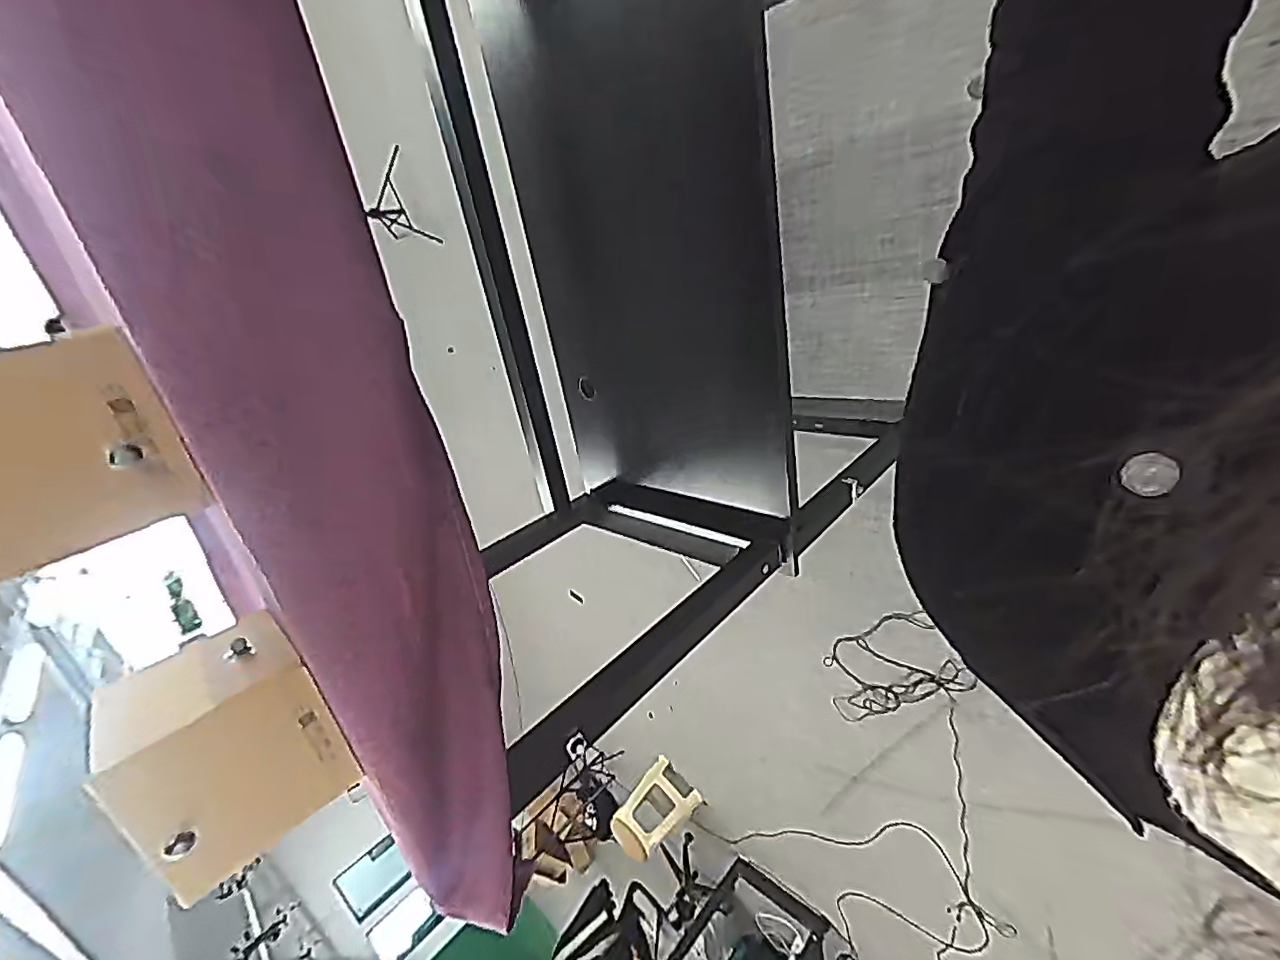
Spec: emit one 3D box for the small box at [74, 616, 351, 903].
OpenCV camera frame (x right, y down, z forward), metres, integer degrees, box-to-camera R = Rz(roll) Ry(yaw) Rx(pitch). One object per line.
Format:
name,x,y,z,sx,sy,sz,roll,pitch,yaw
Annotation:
small box,-0.435,0.268,0.568,0.179,0.176,0.168,11,122,45

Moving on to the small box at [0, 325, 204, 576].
small box,-0.519,-0.033,0.469,0.179,0.176,0.168,13,124,43
